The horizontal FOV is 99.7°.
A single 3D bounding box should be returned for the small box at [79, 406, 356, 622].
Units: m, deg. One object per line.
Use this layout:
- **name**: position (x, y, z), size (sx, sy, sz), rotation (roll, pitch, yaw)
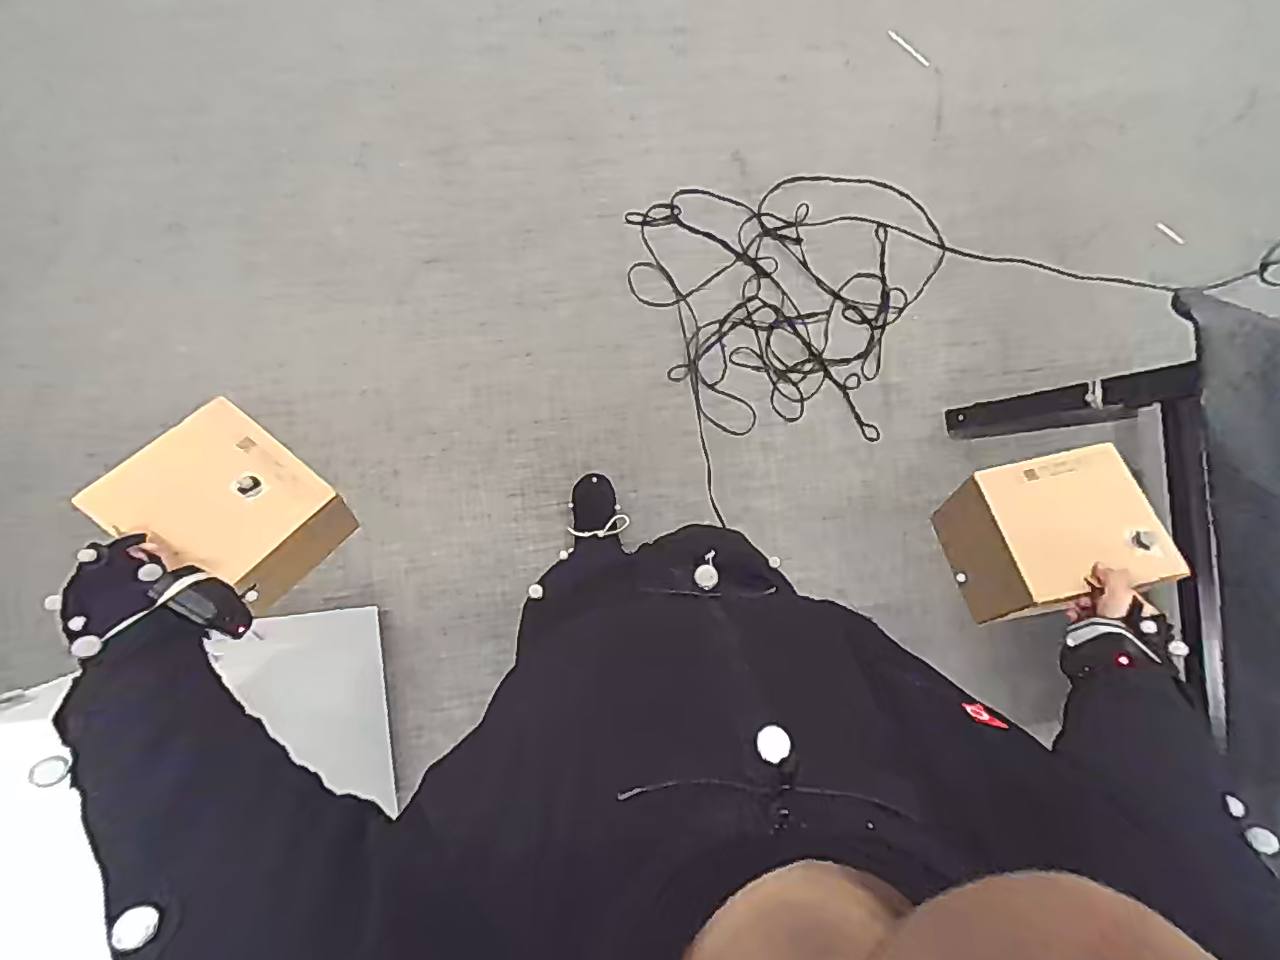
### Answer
- **small box**: position (-0.467, 0.045, 0.640), size (0.168, 0.179, 0.176), rotation (41, 64, -3)
